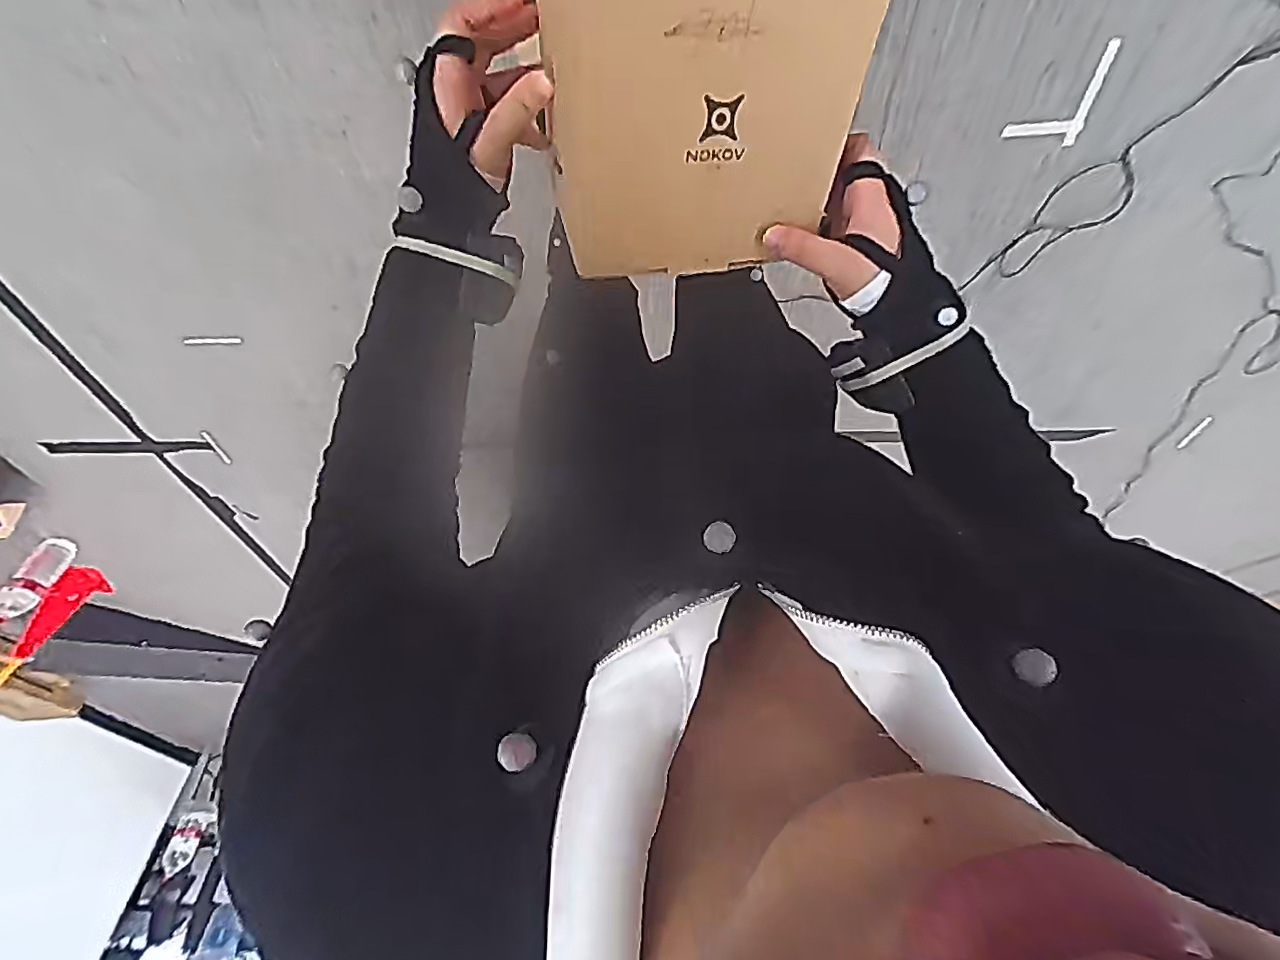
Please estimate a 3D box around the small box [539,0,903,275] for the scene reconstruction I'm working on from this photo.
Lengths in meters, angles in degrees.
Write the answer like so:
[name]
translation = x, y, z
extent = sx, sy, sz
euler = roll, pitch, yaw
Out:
[small box]
translation = 0.029, -0.257, 0.343
extent = 0.168, 0.176, 0.179
euler = -9, 142, -11
